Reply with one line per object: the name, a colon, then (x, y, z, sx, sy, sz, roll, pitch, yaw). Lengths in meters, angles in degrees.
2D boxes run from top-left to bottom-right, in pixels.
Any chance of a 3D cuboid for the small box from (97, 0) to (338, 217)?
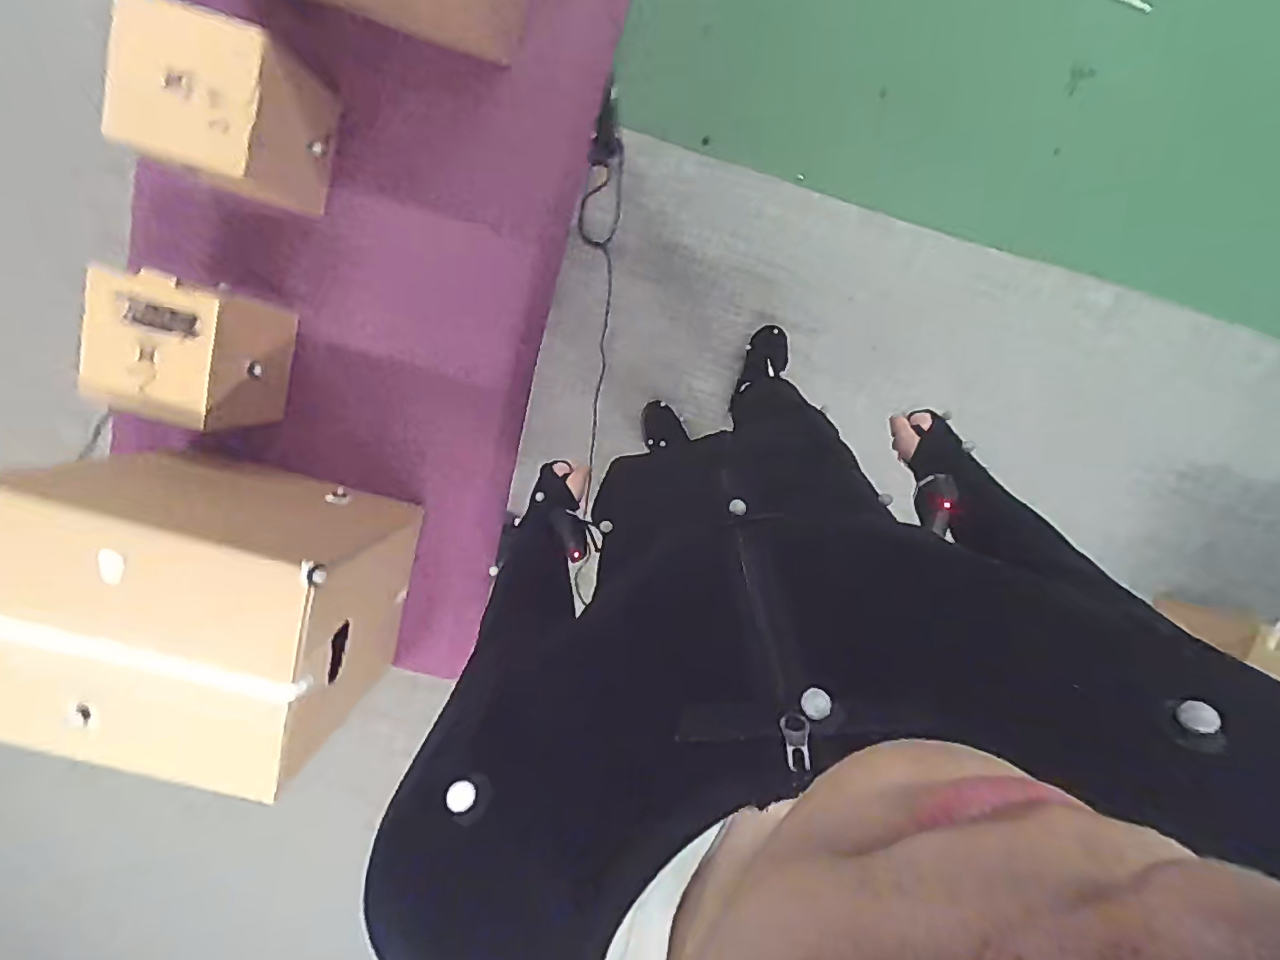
small box: (-0.542, -0.473, 0.713, 0.179, 0.176, 0.168, 16, 100, -3)
